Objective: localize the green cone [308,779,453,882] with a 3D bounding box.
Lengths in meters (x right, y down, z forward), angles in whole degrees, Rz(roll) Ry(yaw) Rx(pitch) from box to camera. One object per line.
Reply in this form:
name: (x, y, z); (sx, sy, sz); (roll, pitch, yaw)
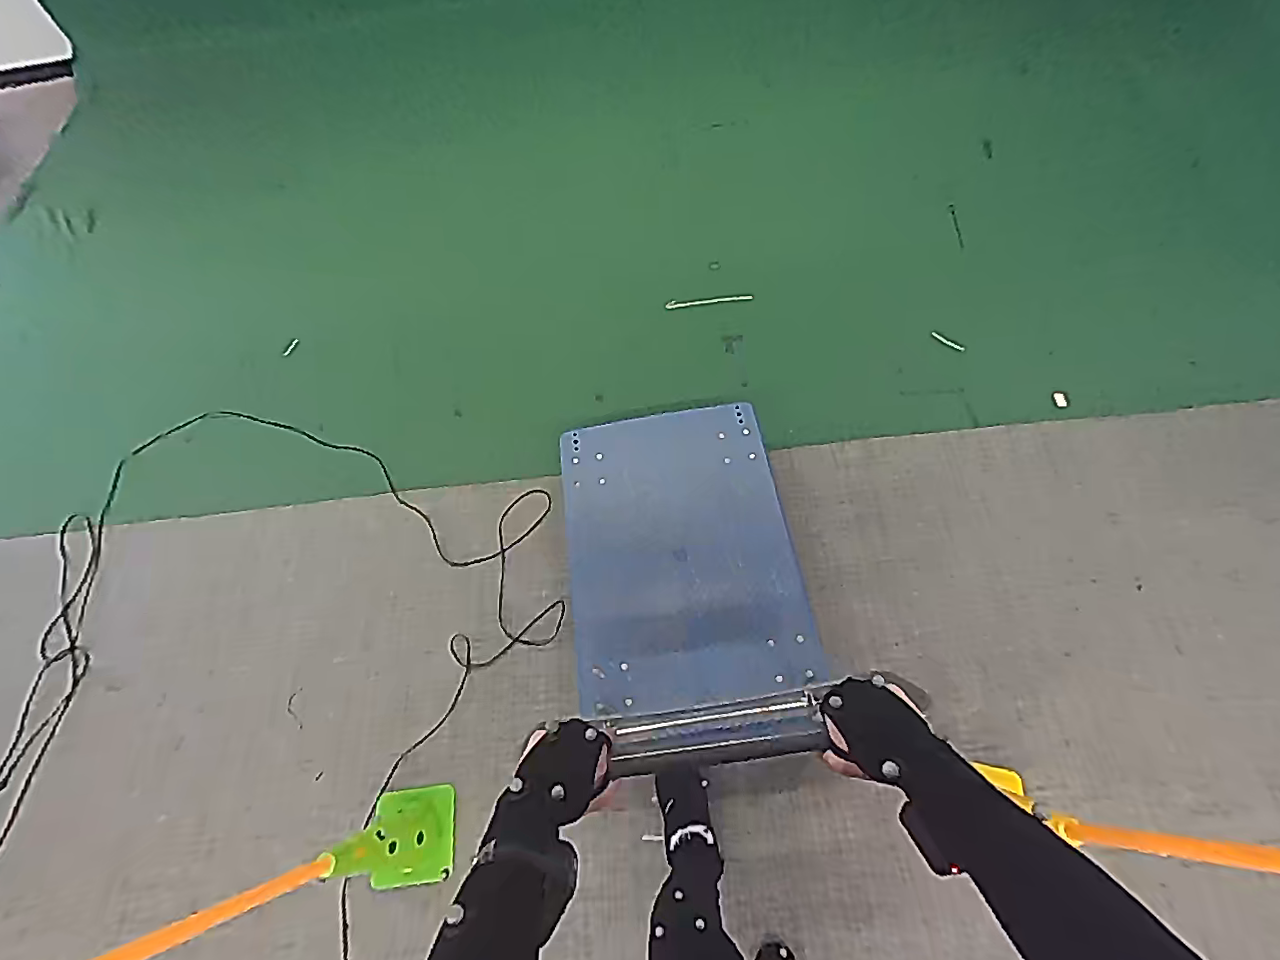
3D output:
green cone: (-0.575, 0.780, 1.168); (0.202, 0.368, 0.200); (-10, 64, 3)
